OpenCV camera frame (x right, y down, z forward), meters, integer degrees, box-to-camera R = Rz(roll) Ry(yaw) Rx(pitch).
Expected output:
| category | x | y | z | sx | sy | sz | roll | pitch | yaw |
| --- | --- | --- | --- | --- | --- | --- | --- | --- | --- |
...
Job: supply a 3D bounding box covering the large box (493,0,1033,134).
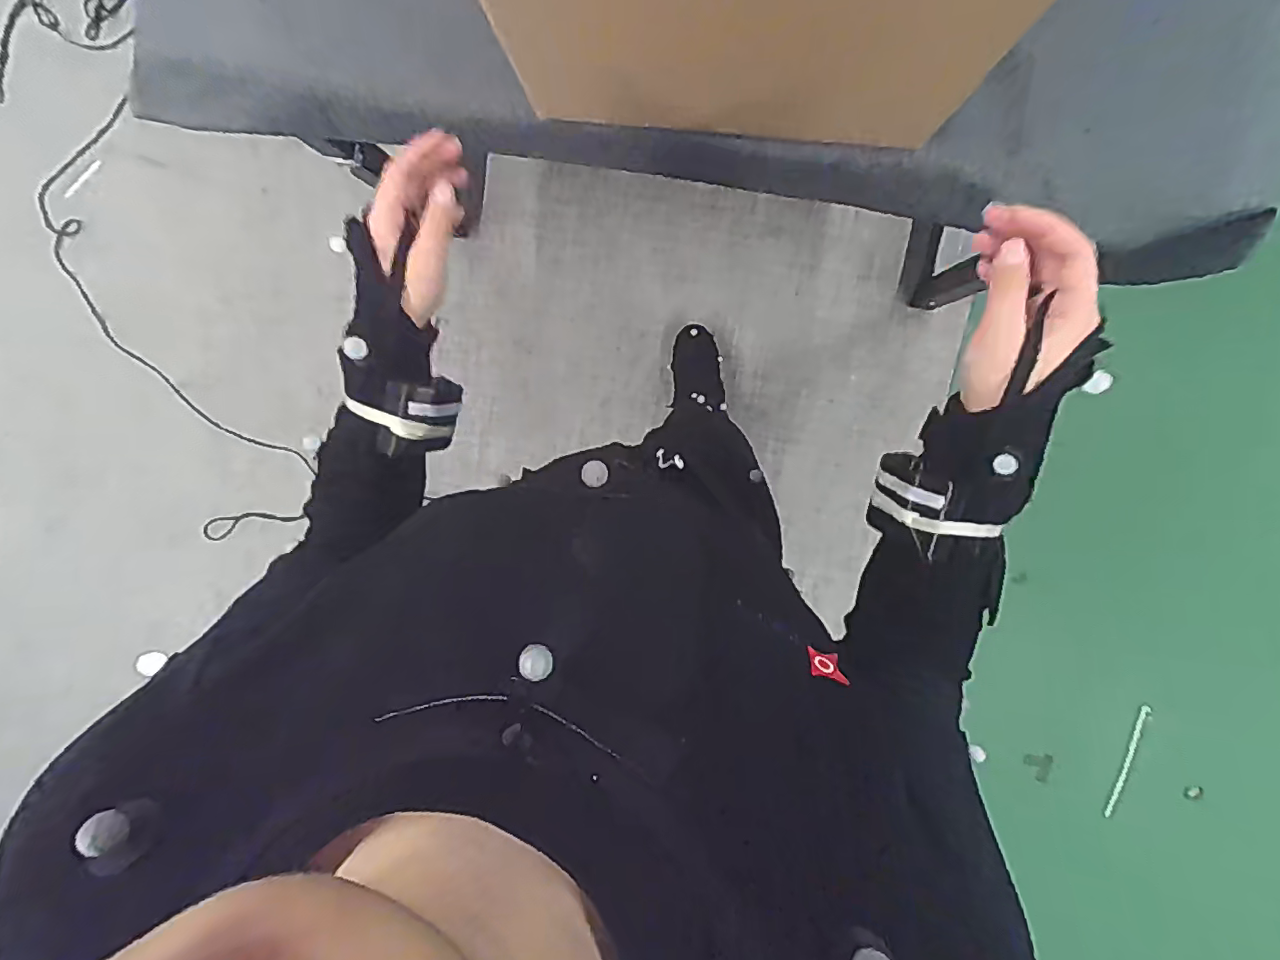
| category | x | y | z | sx | sy | sz | roll | pitch | yaw |
| --- | --- | --- | --- | --- | --- | --- | --- | --- | --- |
| large box | 0.093 | -0.501 | 0.398 | 0.408 | 0.320 | 0.320 | 6 | 99 | 2 |
